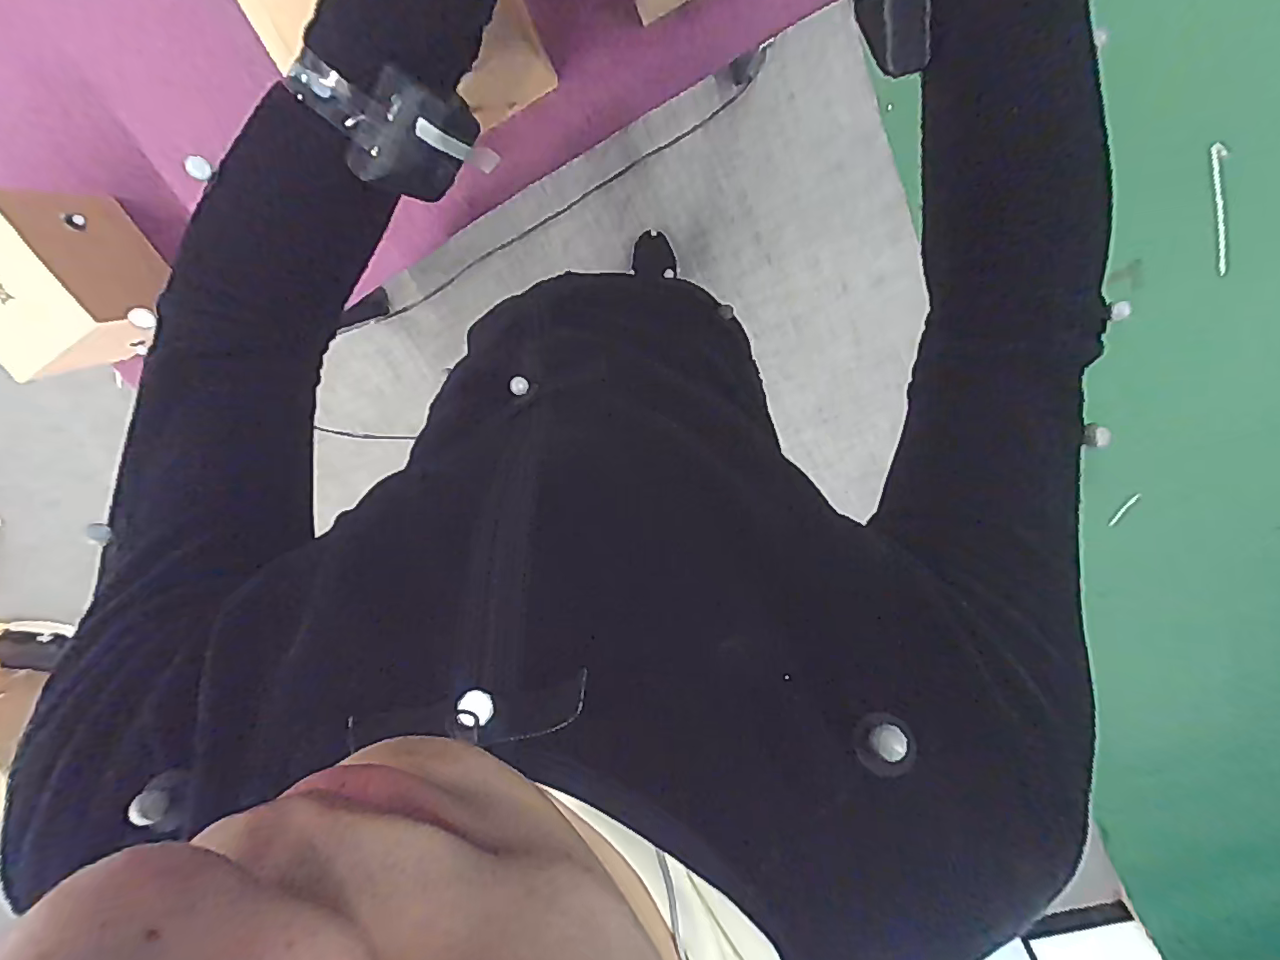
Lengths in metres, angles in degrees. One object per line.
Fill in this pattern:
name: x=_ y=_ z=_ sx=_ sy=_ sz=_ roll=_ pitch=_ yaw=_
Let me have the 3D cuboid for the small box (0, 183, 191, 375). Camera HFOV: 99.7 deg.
small box: x=-0.784 y=-0.269 z=0.731 sx=0.168 sy=0.176 sz=0.179 roll=-24 pitch=111 yaw=14

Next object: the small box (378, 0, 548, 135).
small box: x=-0.222 y=-0.507 z=0.589 sx=0.168 sy=0.176 sz=0.179 roll=-23 pitch=110 yaw=14

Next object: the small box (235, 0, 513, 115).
small box: x=-0.231 y=-0.440 z=0.439 sx=0.168 sy=0.176 sz=0.179 roll=-22 pitch=112 yaw=14
